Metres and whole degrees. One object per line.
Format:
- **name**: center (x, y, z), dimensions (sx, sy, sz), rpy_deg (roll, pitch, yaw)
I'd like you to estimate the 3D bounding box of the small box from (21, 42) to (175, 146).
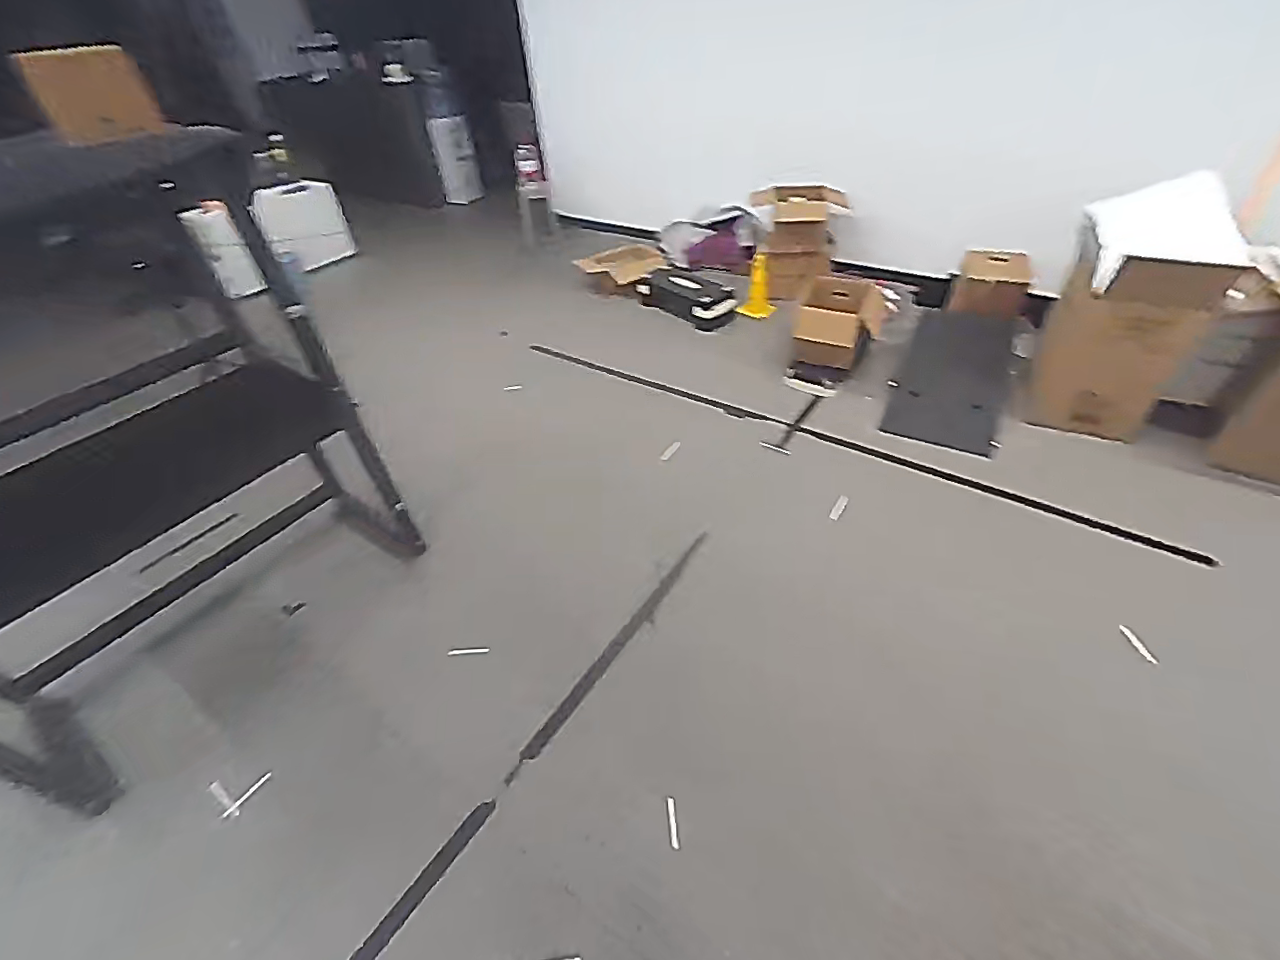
- **small box**: center (-1.190, -0.852, 1.196), dimensions (0.179, 0.176, 0.168), rpy_deg (29, 52, 31)
